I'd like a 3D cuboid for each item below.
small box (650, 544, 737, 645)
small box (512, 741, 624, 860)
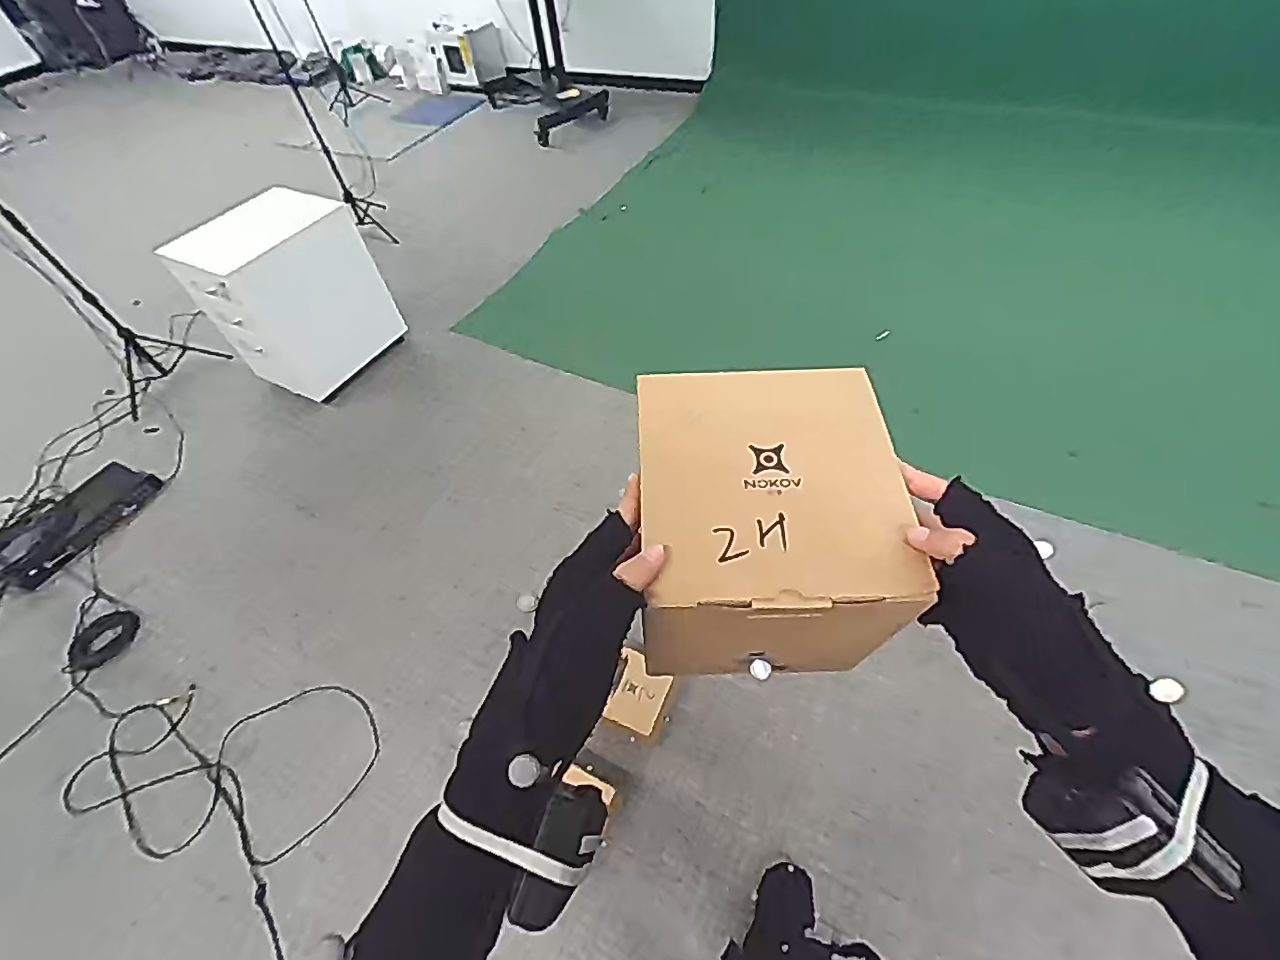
[{"bbox_3d":[0.147,0.317,1.479,0.168,0.176,0.179,33,61,26],"label":"small box"},{"bbox_3d":[-0.152,0.719,1.205,0.179,0.176,0.168,20,57,19],"label":"small box"}]
